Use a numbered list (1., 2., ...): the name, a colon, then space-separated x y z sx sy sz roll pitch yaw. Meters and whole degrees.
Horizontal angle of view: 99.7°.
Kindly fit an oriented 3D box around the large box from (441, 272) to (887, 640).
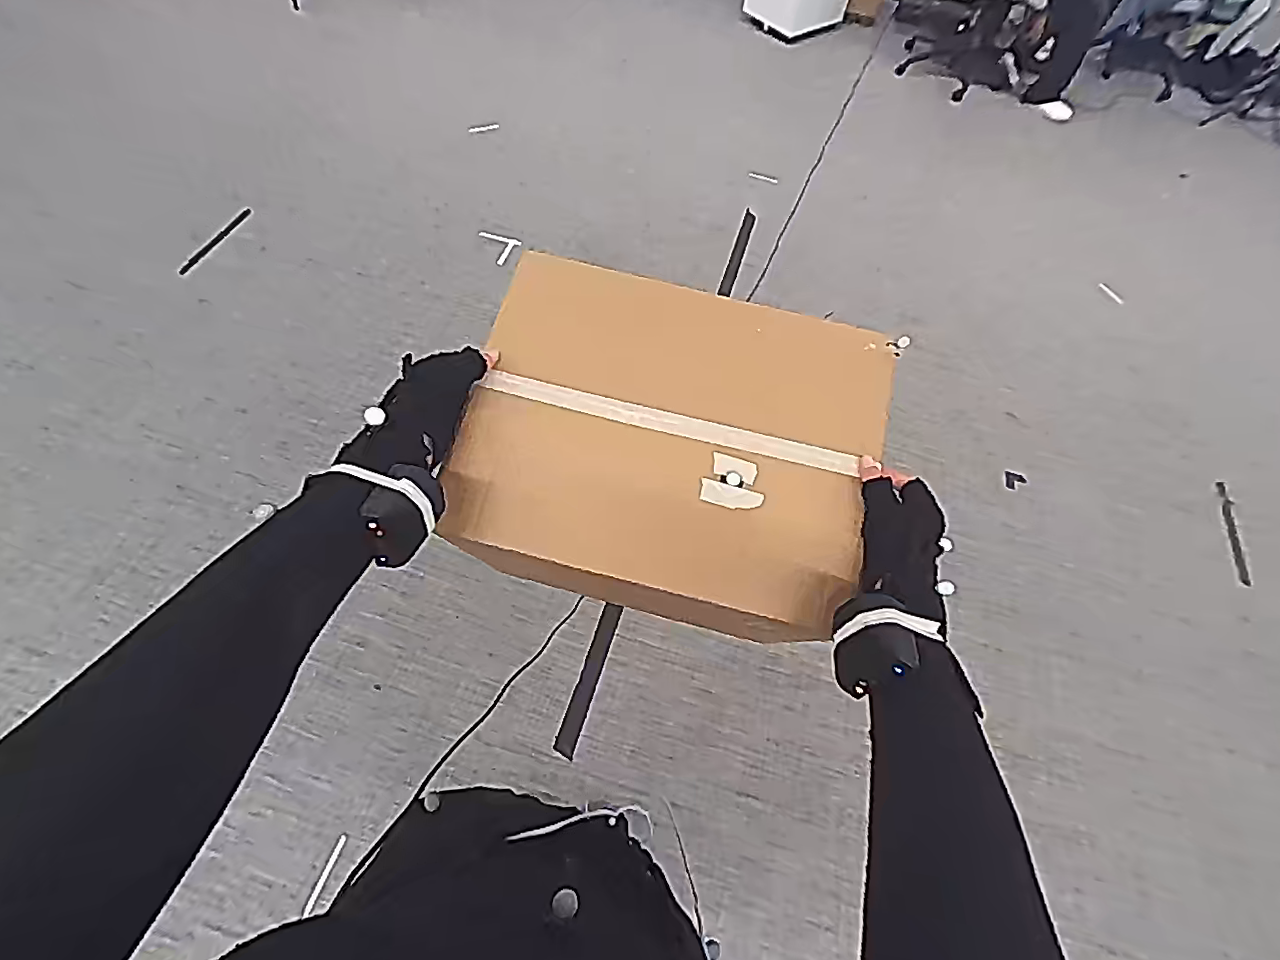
1. large box: 0.032 -0.002 0.684 0.408 0.320 0.320 14 73 3
